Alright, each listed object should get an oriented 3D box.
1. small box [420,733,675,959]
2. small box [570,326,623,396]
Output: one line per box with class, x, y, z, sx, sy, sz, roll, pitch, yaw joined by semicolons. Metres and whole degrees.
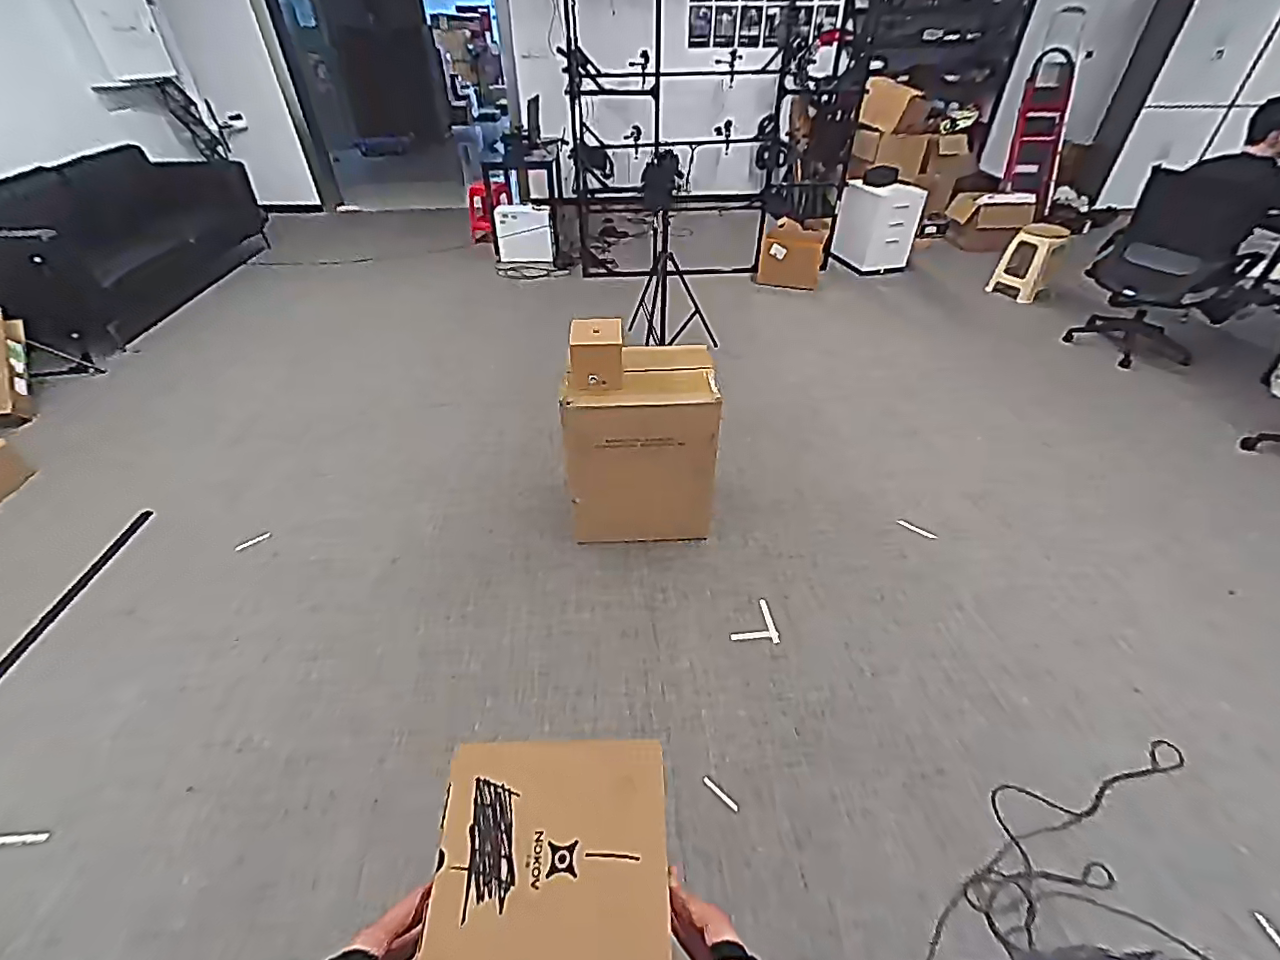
small box;-0.063;0.333;0.466;0.179;0.176;0.168;-1;47;-1
small box;-0.142;-0.396;1.793;0.168;0.176;0.179;-3;42;-2
